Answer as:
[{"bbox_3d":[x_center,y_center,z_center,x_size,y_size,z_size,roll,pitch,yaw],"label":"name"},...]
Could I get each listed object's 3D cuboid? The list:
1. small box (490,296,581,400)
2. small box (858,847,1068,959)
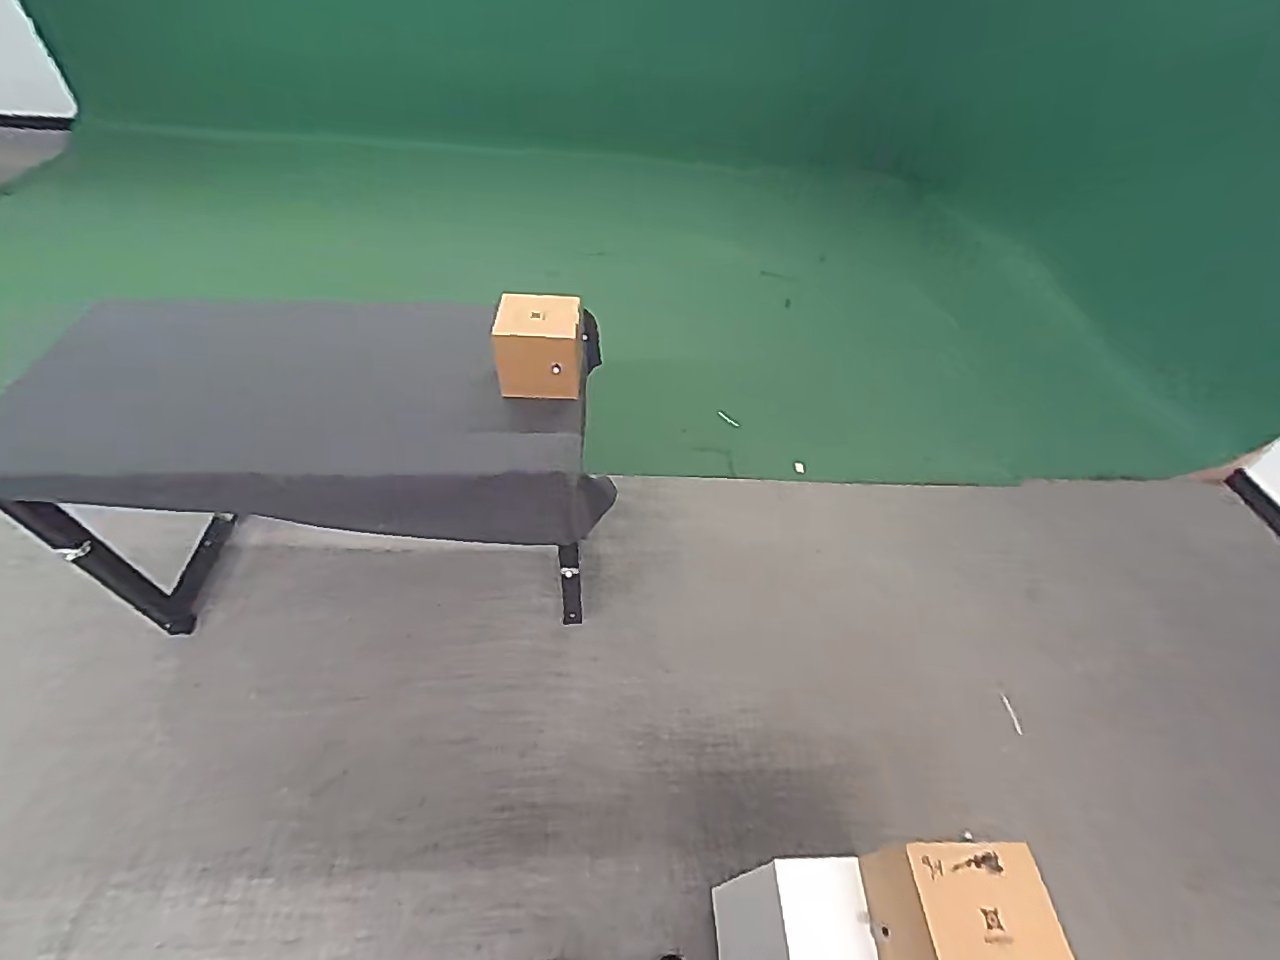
[{"bbox_3d":[-0.227,-0.296,1.226,0.179,0.176,0.168,1,48,-2],"label":"small box"},{"bbox_3d":[0.408,0.585,0.697,0.168,0.176,0.179,2,51,-3],"label":"small box"}]
